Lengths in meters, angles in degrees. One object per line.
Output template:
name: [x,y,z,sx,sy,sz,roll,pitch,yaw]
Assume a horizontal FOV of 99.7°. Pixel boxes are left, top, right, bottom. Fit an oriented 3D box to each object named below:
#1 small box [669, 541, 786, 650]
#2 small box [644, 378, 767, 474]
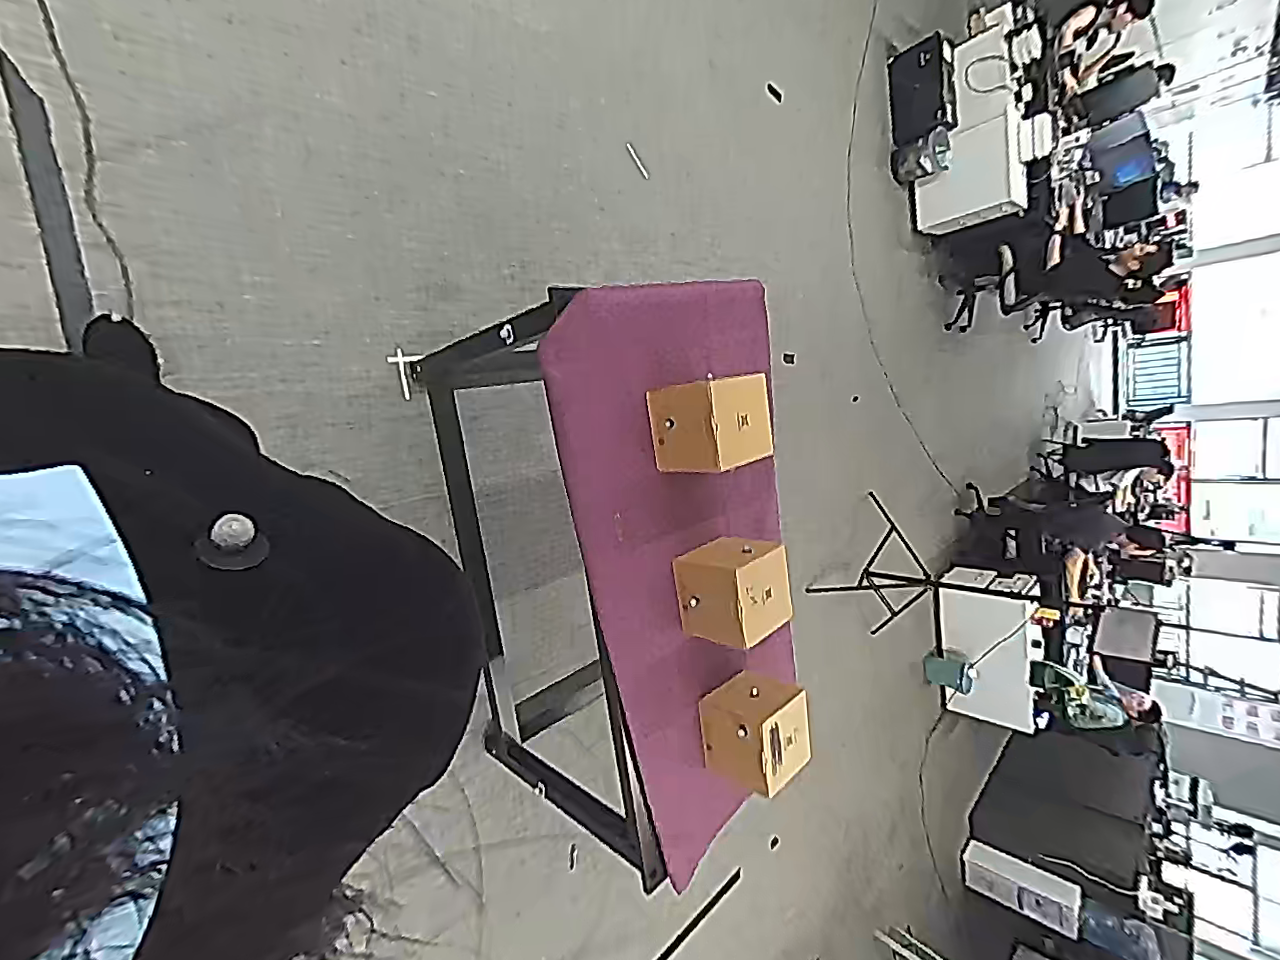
small box: [0.185,0.234,1.149,0.179,0.176,0.168,-16,101,-41]
small box: [0.132,-0.112,1.093,0.179,0.176,0.168,-17,103,-41]
